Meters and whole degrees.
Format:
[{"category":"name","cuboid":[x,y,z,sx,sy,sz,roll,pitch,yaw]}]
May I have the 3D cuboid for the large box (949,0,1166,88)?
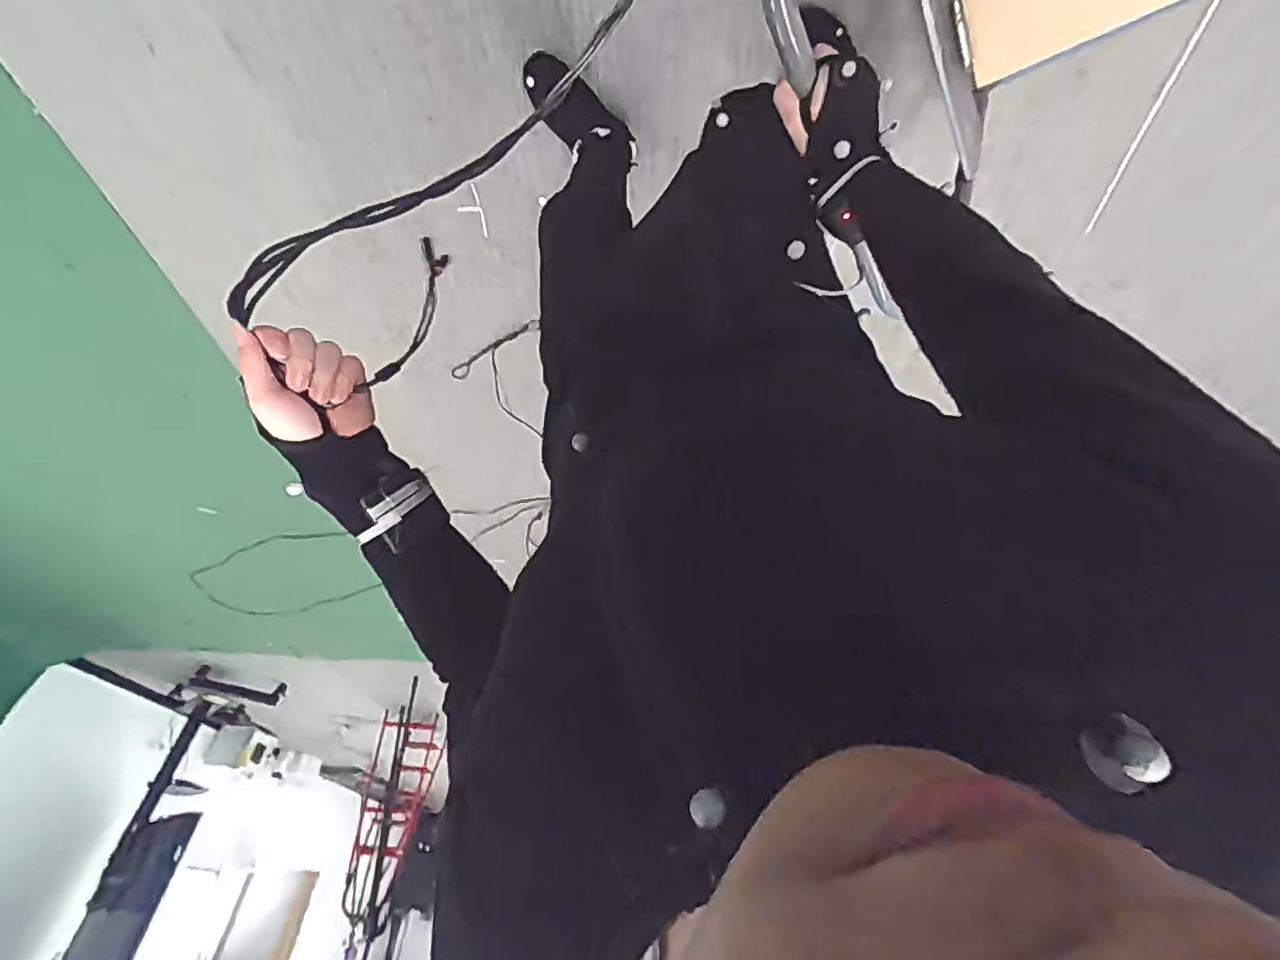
[{"category":"large box","cuboid":[0.602,-0.802,0.662,0.408,0.320,0.320,-4,143,38]}]
